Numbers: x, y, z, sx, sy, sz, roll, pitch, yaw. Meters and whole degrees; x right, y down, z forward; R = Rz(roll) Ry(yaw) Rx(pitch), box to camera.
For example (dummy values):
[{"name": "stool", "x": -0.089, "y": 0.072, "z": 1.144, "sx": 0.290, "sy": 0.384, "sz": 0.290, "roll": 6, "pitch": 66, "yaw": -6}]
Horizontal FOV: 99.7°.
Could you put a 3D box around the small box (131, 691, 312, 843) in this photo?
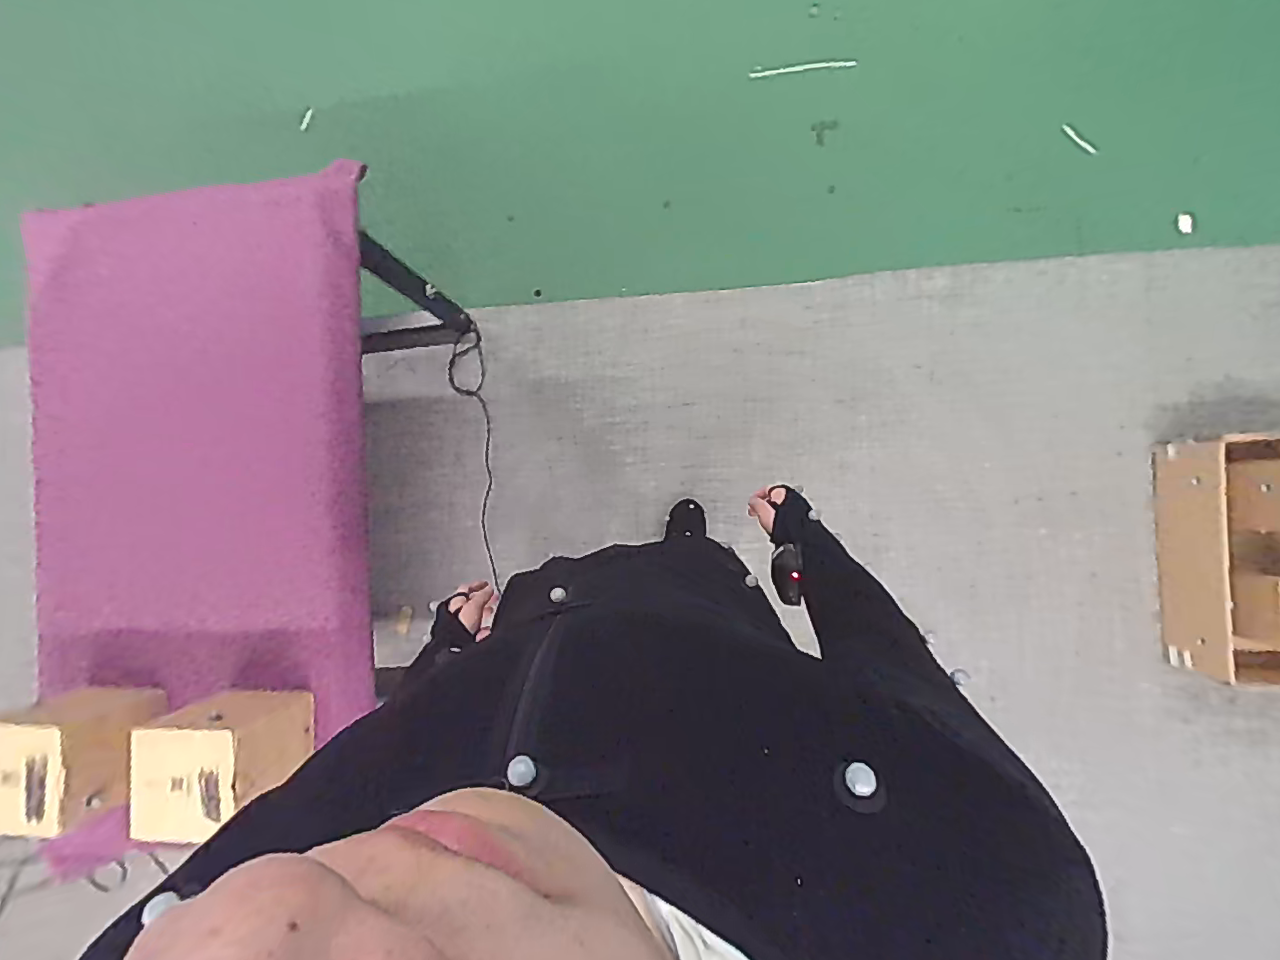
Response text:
[{"name": "small box", "x": -0.667, "y": 0.456, "z": 0.882, "sx": 0.179, "sy": 0.176, "sz": 0.168, "roll": -2, "pitch": 88, "yaw": 6}]

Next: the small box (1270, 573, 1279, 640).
[{"name": "small box", "x": 1.577, "y": 0.295, "z": 1.193, "sx": 0.179, "sy": 0.176, "sz": 0.168, "roll": 0, "pitch": 89, "yaw": 6}]

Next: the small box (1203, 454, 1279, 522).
[{"name": "small box", "x": 1.591, "y": 0.020, "z": 1.360, "sx": 0.179, "sy": 0.176, "sz": 0.168, "roll": 0, "pitch": 89, "yaw": 5}]

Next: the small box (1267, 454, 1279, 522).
[{"name": "small box", "x": 1.574, "y": 0.018, "z": 1.198, "sx": 0.179, "sy": 0.176, "sz": 0.168, "roll": 0, "pitch": 89, "yaw": 6}]
